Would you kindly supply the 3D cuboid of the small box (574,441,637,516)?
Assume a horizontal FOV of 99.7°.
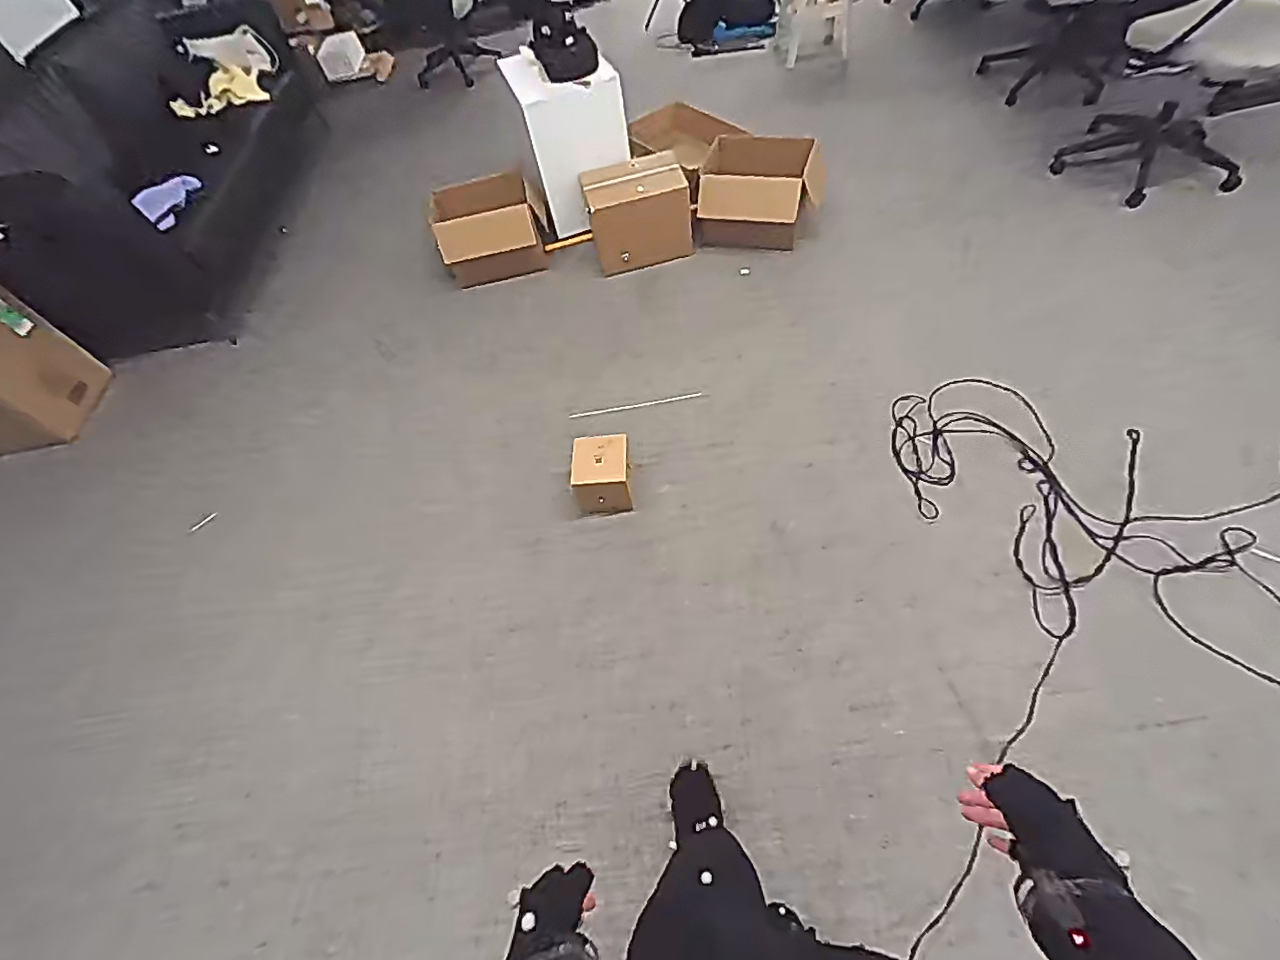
[{"bbox_3d":[-0.101,0.002,1.677,0.168,0.176,0.179,-4,56,6],"label":"small box"}]
